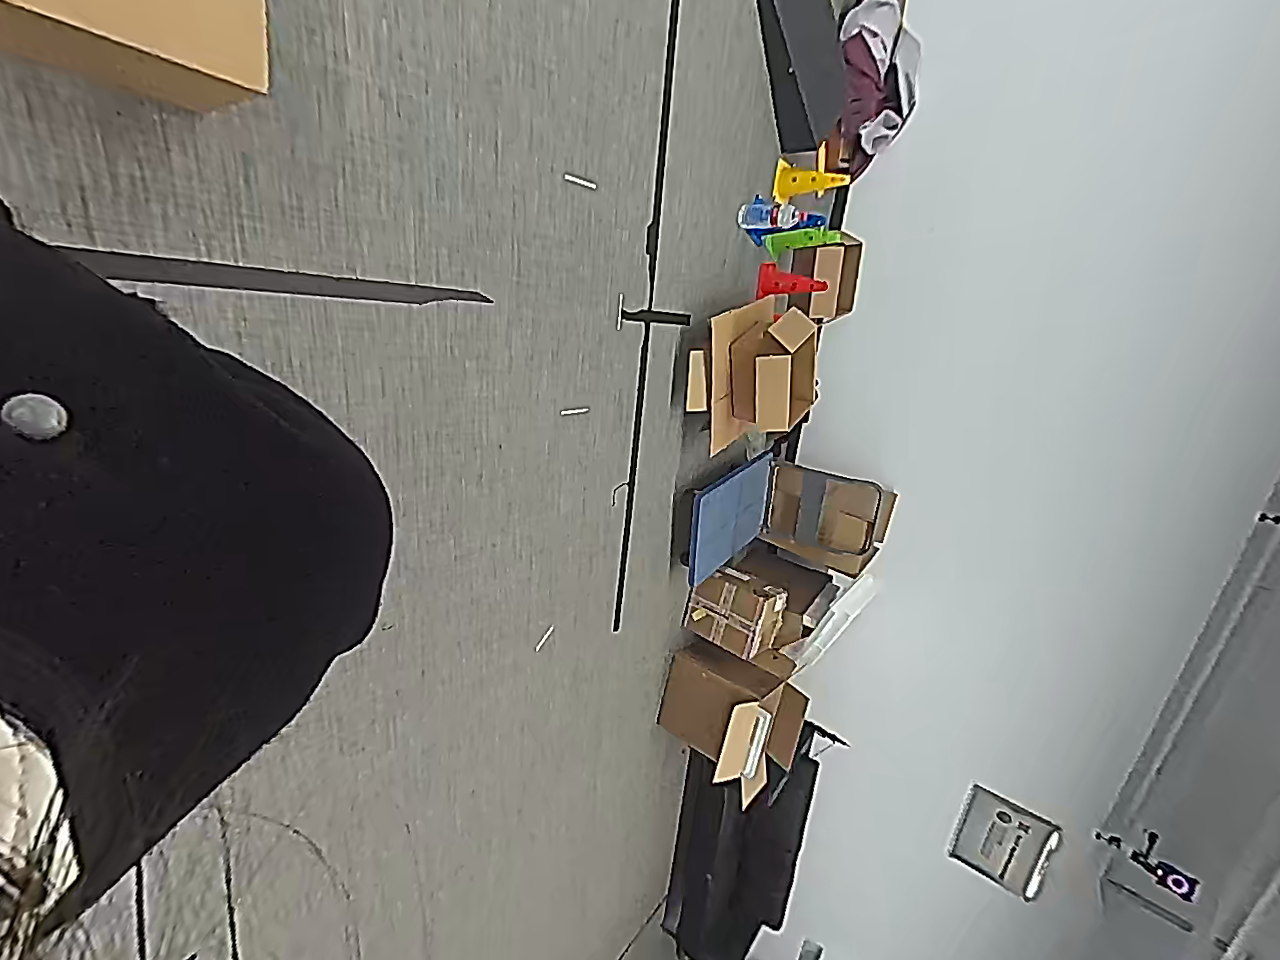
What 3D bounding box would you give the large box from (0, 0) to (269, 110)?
[{"bbox_3d":[-0.841,-0.799,0.787,0.408,0.320,0.320,-15,118,-52],"label":"large box"}]
